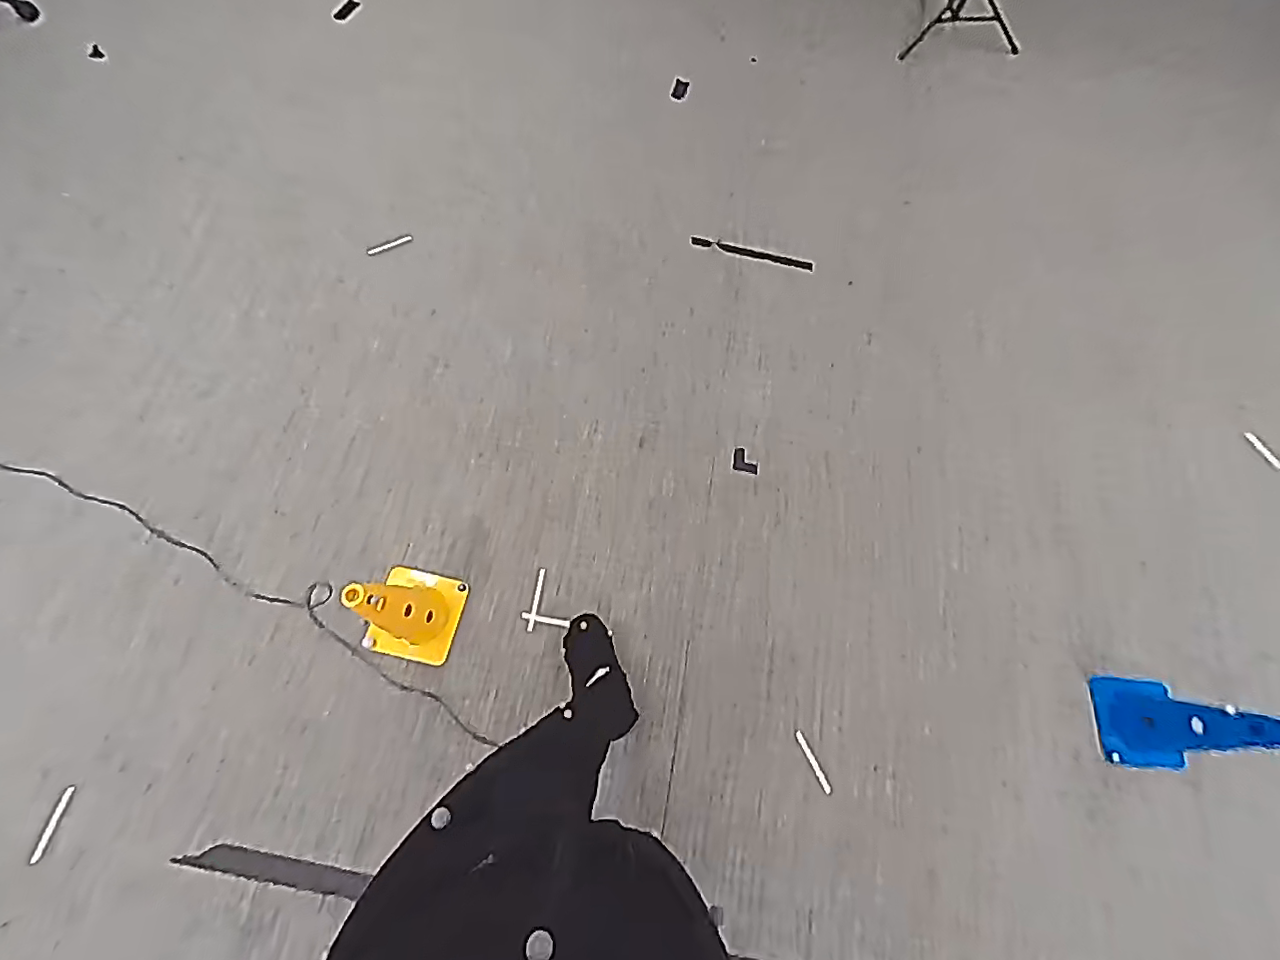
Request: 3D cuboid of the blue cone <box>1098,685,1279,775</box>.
[{"bbox_3d":[1.216,0.545,1.149,0.193,0.380,0.192,7,70,-1],"label":"blue cone"}]
